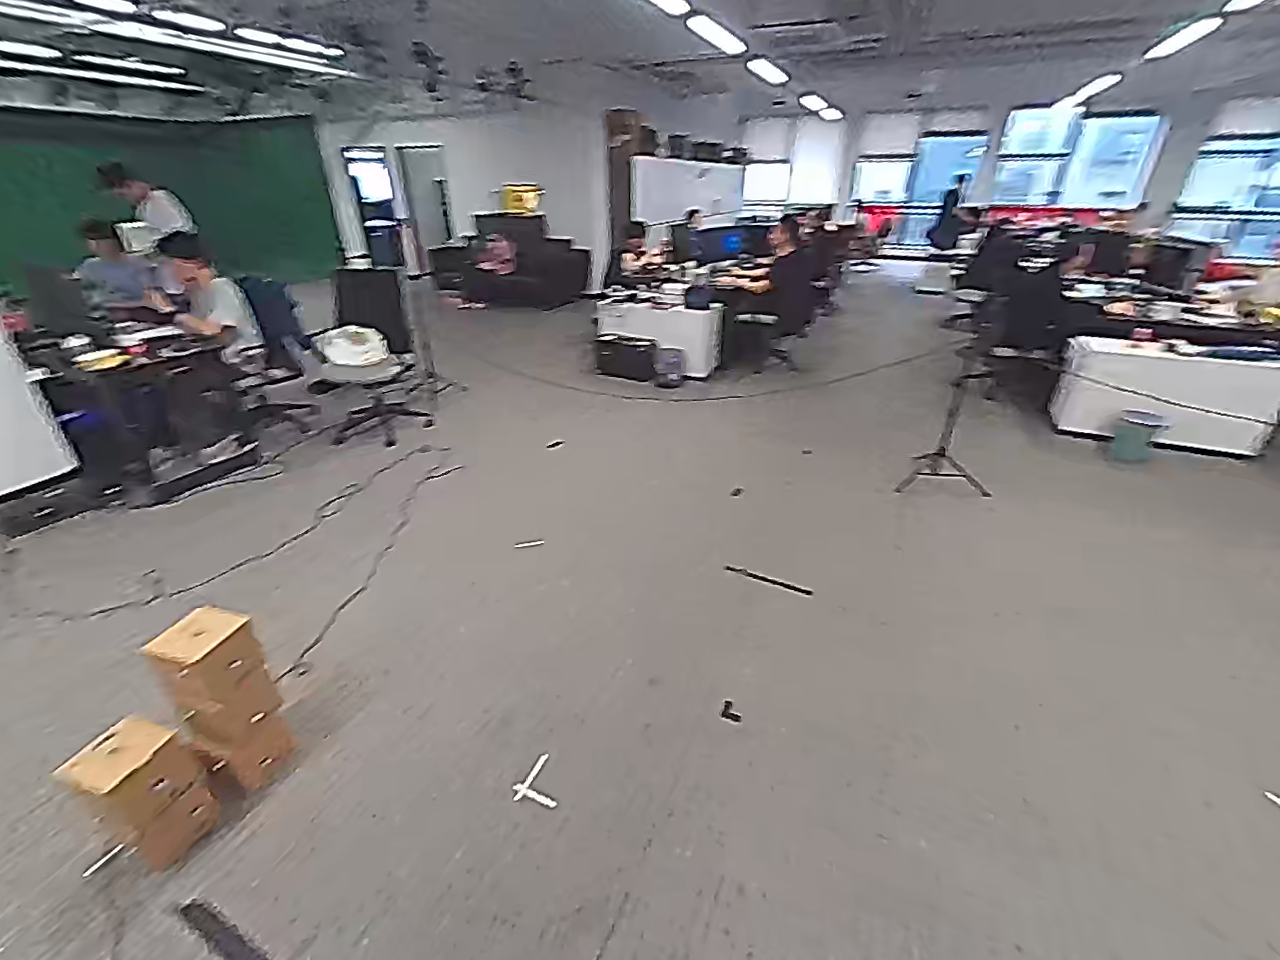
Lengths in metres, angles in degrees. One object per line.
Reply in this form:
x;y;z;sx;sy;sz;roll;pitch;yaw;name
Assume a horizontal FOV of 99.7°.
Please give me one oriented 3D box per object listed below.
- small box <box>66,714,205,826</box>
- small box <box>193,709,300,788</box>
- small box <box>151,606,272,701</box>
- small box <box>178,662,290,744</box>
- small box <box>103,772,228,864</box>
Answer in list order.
-1.264;0.736;1.369;0.179;0.176;0.168;9;30;15;small box
-1.170;0.784;1.618;0.179;0.176;0.168;9;30;14;small box
-1.167;0.480;1.489;0.179;0.176;0.168;7;30;12;small box
-1.165;0.628;1.561;0.179;0.176;0.168;10;31;15;small box
-1.259;0.881;1.446;0.179;0.176;0.168;10;30;19;small box
